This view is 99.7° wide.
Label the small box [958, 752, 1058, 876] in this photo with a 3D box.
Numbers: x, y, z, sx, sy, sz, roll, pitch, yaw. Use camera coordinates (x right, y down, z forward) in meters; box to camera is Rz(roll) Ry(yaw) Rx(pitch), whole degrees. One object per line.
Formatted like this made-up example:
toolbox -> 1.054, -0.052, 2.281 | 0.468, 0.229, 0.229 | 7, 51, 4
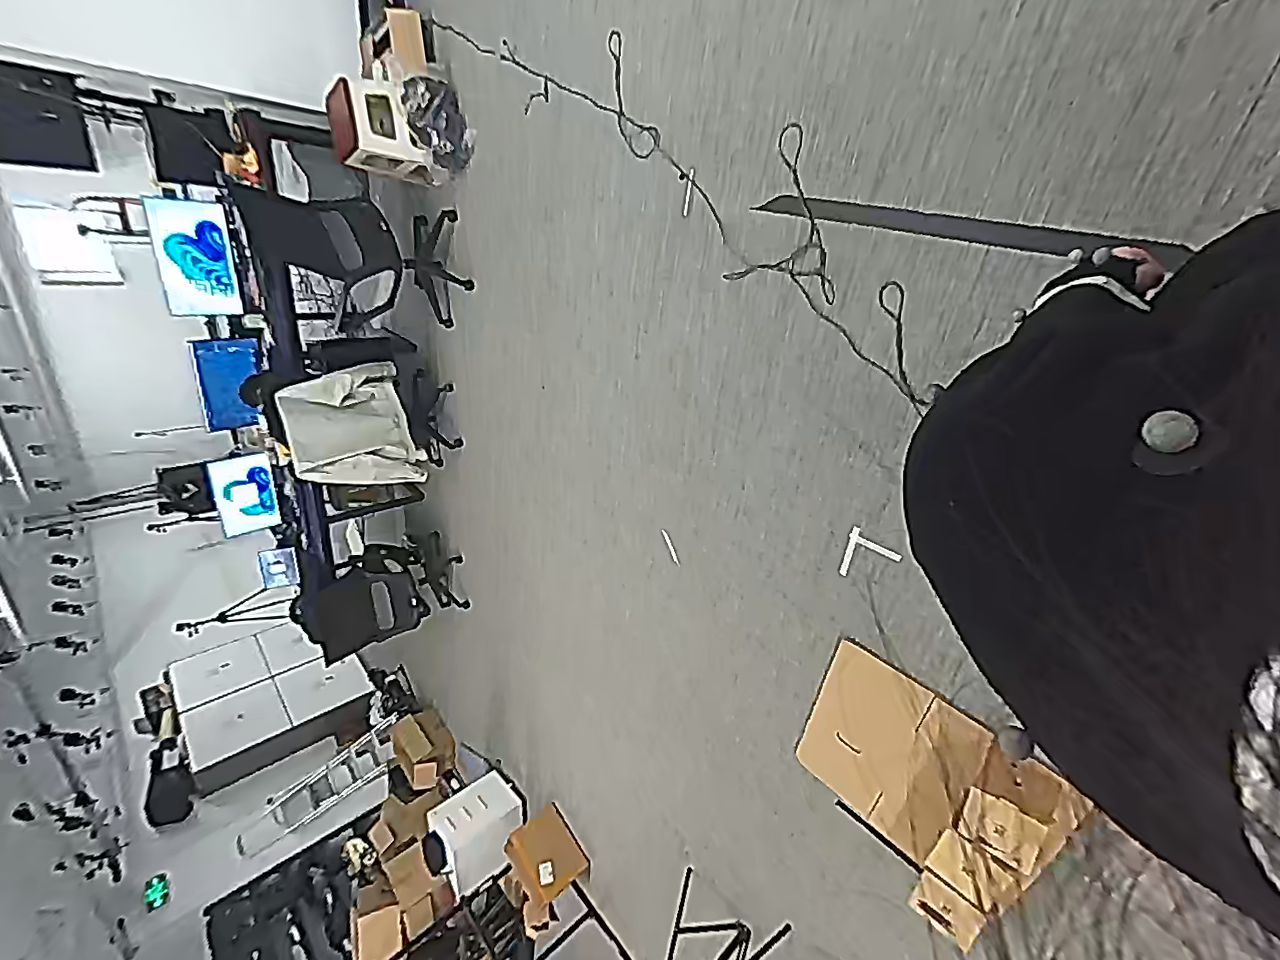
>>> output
small box -> 0.955, 0.853, 1.400 | 0.168, 0.176, 0.179 | 21, 118, 41
